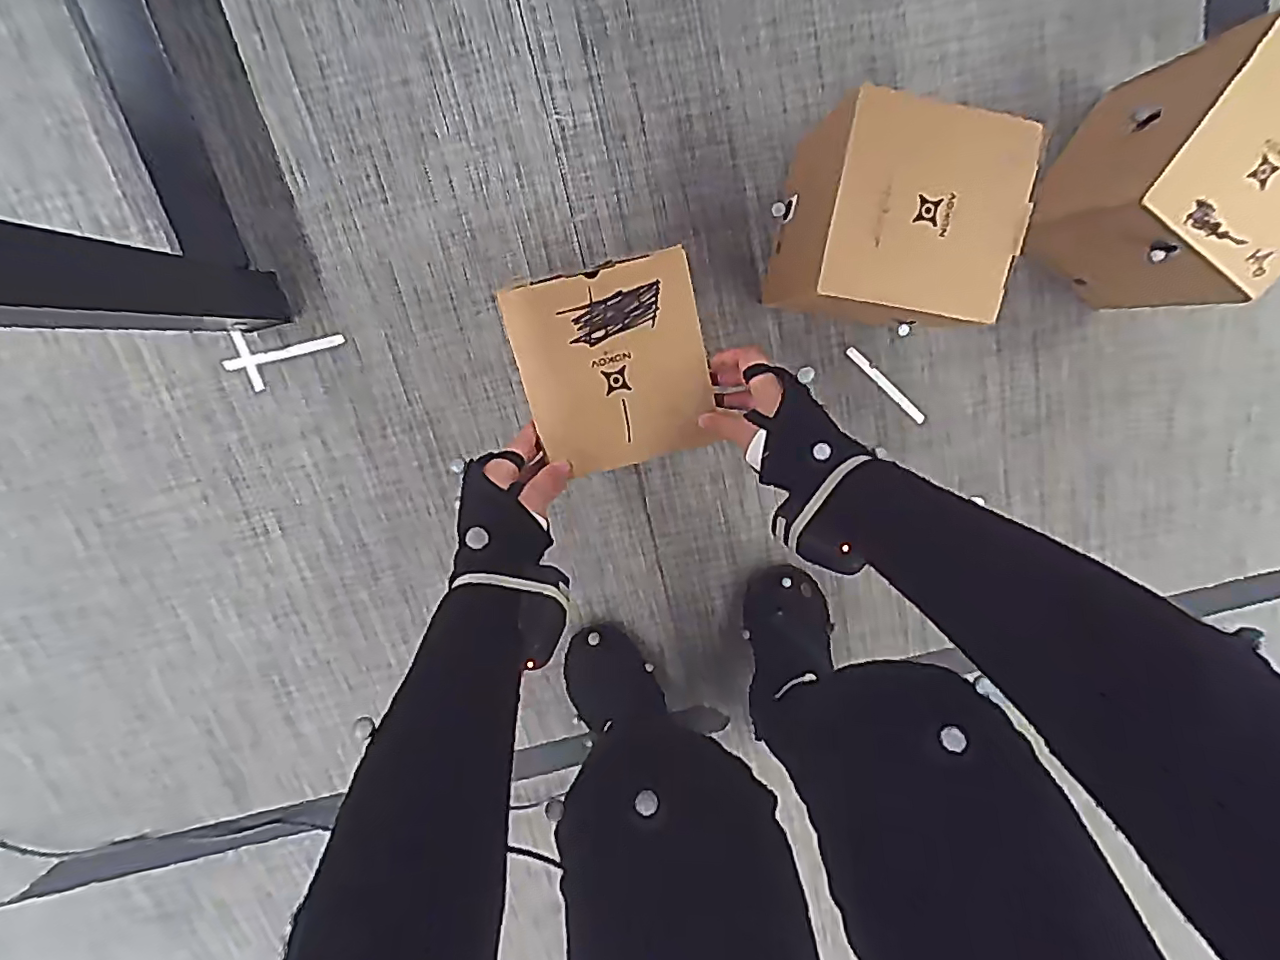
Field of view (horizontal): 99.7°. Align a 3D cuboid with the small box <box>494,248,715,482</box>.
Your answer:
[{"bbox_3d":[-0.035,-0.118,0.555,0.168,0.176,0.179,-14,107,-1],"label":"small box"}]

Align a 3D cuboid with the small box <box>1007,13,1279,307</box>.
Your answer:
[{"bbox_3d":[0.535,-0.299,0.555,0.168,0.176,0.179,29,100,-11],"label":"small box"}]

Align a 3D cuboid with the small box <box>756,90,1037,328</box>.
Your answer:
[{"bbox_3d":[0.236,-0.250,0.545,0.179,0.176,0.168,7,103,-6],"label":"small box"}]
